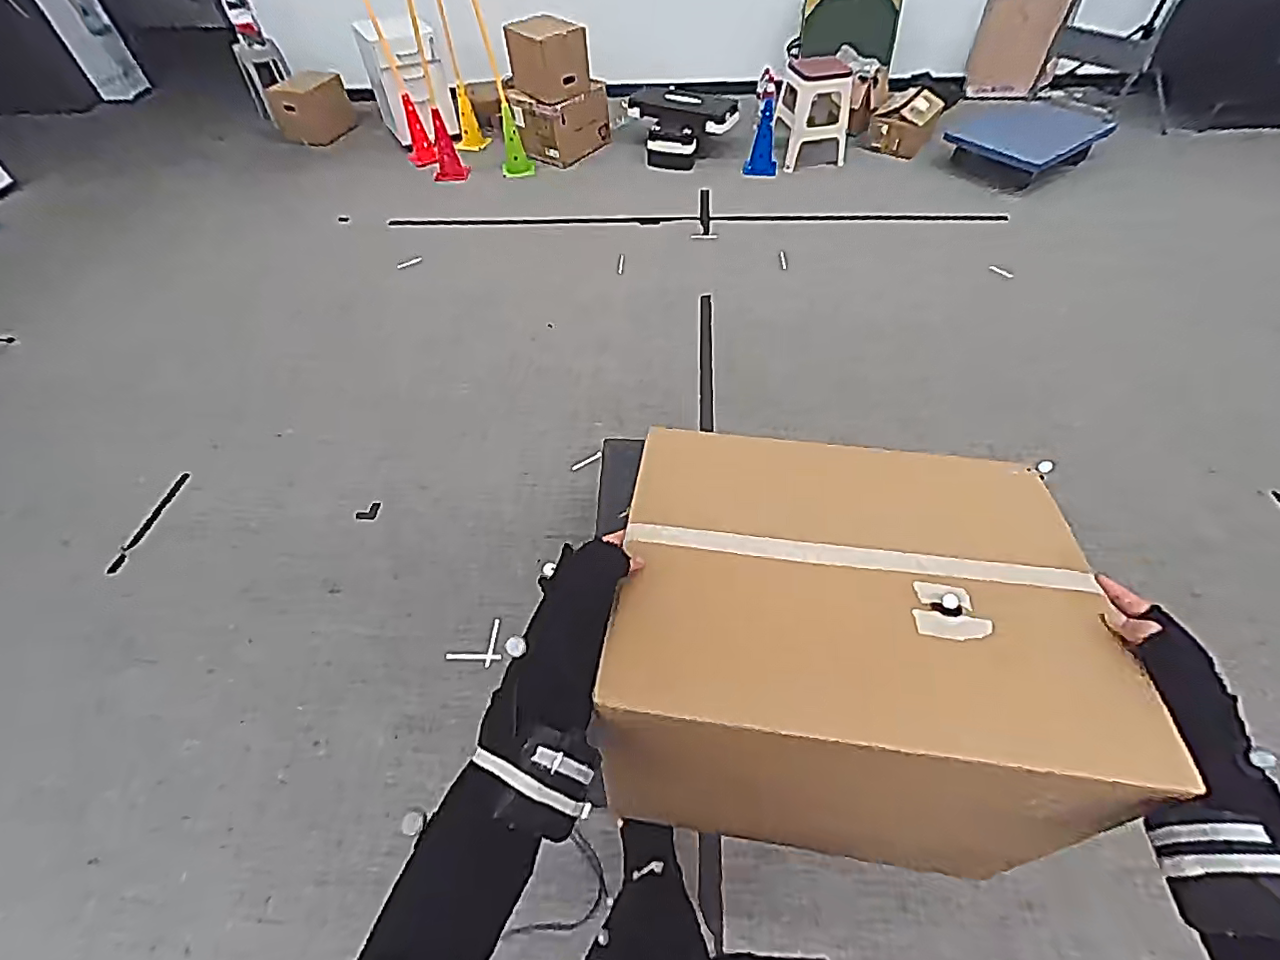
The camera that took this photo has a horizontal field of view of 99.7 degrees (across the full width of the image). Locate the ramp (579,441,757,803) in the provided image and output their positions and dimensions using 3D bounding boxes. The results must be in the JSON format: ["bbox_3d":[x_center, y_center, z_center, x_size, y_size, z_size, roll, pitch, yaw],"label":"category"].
[{"bbox_3d":[0.114,0.324,1.497,0.509,0.206,0.991,0,52,1],"label":"ramp"}]

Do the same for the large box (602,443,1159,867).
[{"bbox_3d":[0.182,0.187,0.599,0.408,0.320,0.320,6,45,6],"label":"large box"}]
